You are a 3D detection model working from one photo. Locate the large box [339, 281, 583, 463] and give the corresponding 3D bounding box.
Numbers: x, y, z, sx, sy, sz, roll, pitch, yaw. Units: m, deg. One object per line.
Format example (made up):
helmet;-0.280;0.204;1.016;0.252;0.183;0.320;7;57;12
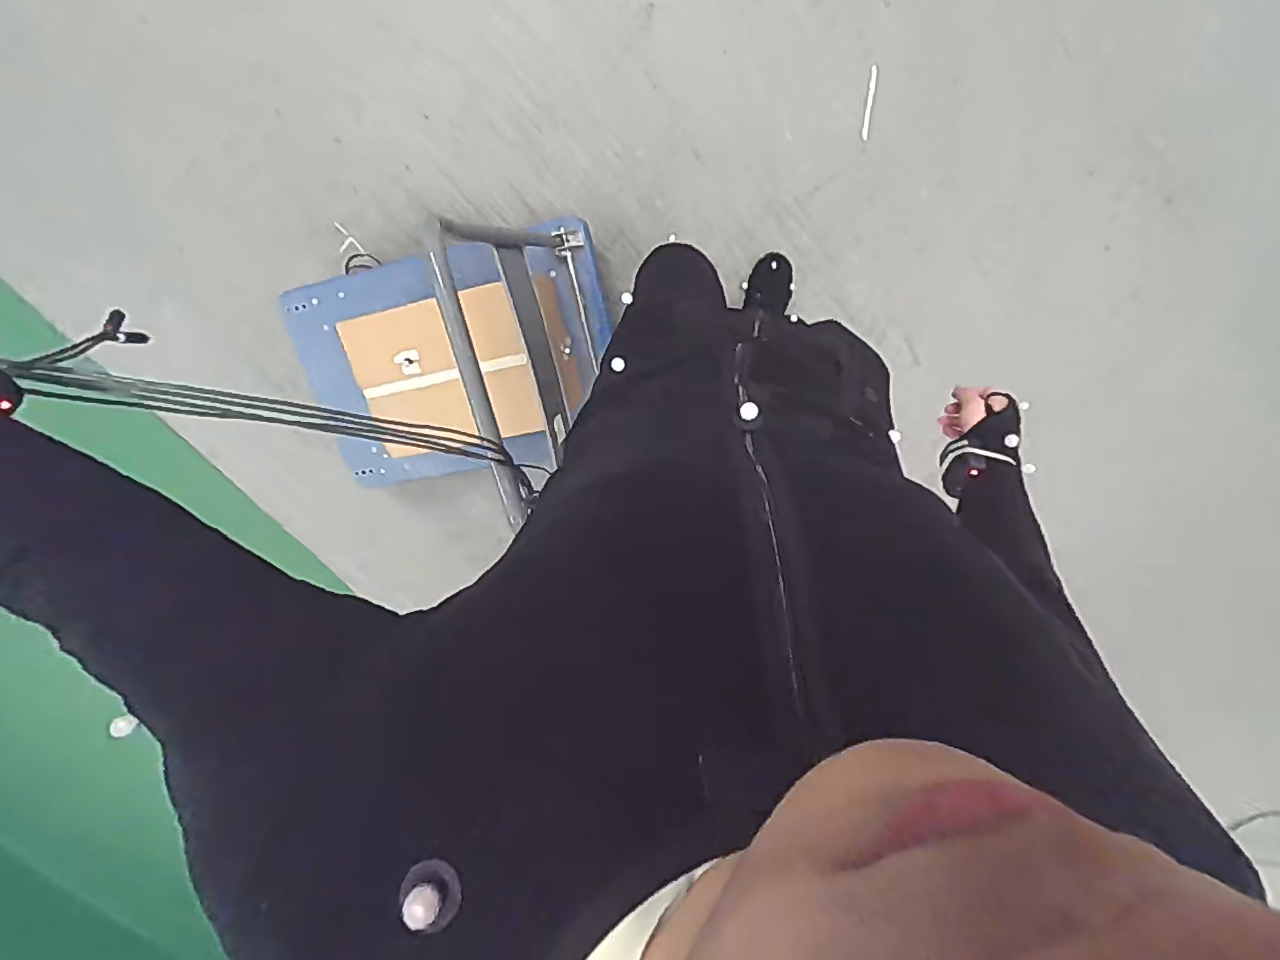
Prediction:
large box;-0.393;-0.265;1.285;0.408;0.320;0.320;-9;109;12
